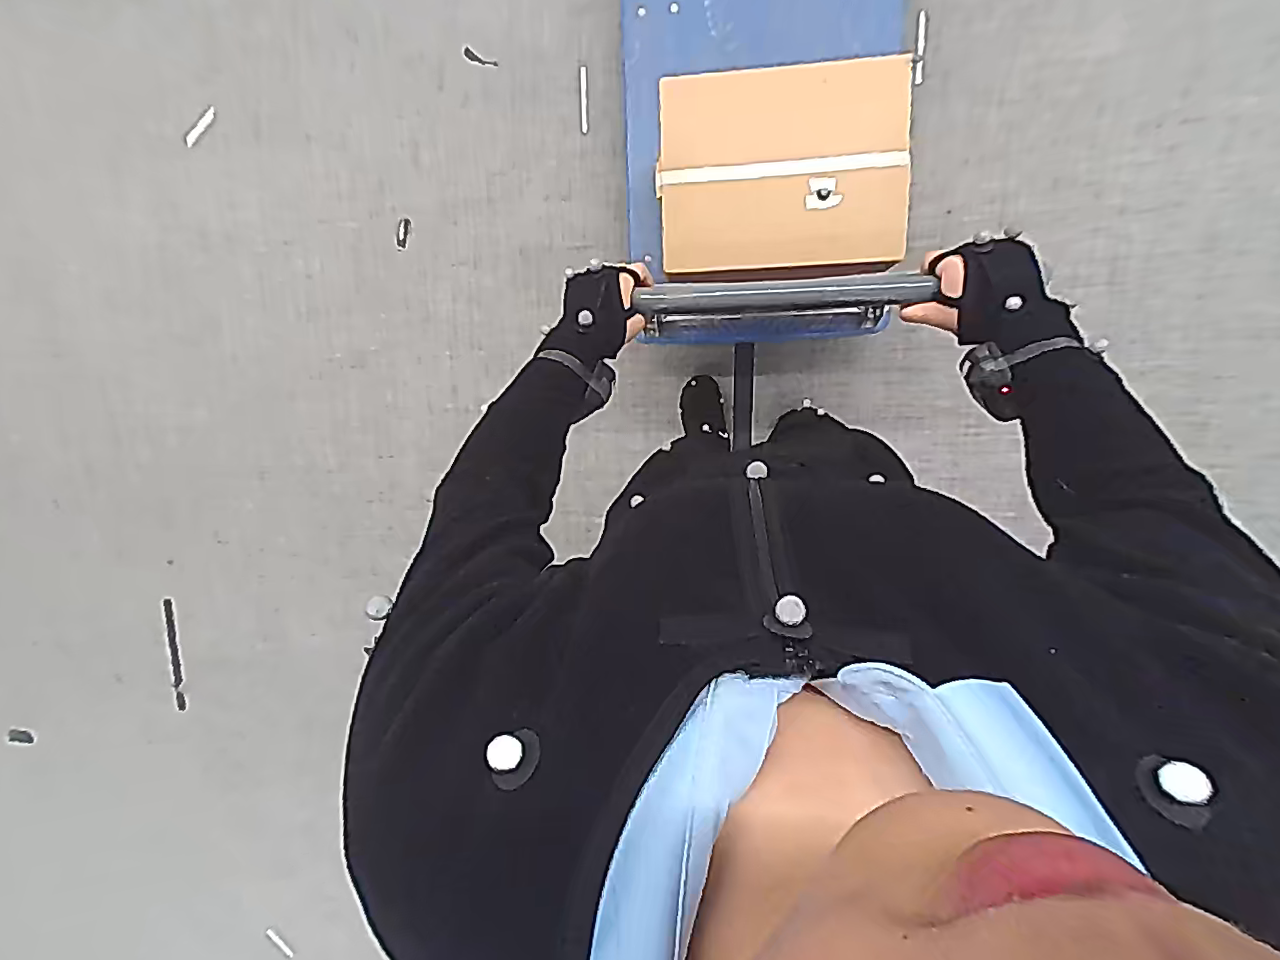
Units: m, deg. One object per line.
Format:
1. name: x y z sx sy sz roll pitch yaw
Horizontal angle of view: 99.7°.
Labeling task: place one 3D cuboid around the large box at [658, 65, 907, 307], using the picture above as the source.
1. large box: 0.248 -0.528 1.048 0.408 0.320 0.320 -1 100 6
